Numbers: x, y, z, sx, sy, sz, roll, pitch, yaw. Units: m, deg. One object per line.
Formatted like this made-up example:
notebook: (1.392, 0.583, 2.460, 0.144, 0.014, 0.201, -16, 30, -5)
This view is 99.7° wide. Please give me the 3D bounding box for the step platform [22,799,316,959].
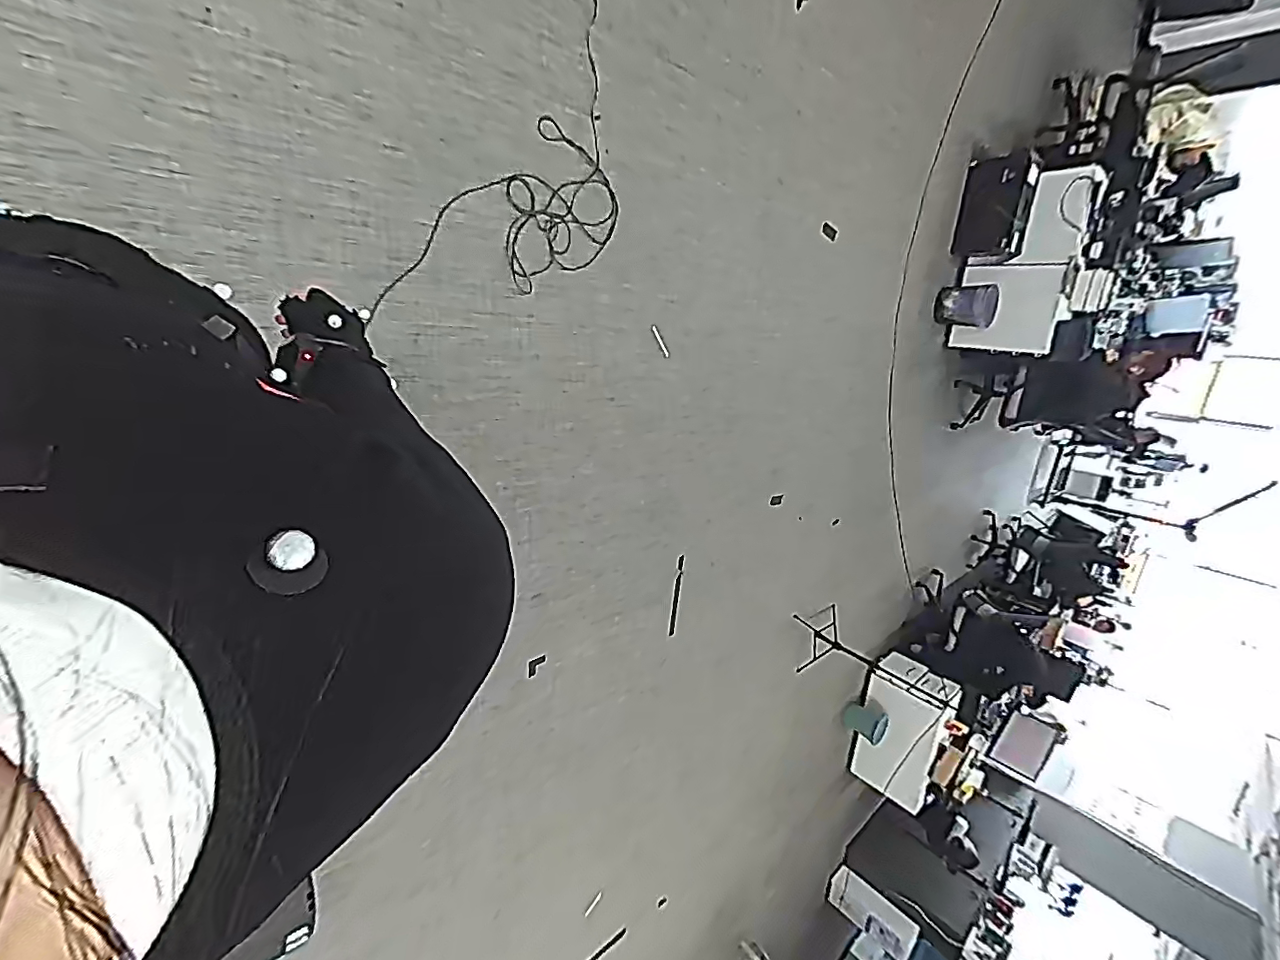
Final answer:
step platform: (-1.161, 1.078, 1.271, 0.684, 0.204, 0.286, -11, 113, -40)
